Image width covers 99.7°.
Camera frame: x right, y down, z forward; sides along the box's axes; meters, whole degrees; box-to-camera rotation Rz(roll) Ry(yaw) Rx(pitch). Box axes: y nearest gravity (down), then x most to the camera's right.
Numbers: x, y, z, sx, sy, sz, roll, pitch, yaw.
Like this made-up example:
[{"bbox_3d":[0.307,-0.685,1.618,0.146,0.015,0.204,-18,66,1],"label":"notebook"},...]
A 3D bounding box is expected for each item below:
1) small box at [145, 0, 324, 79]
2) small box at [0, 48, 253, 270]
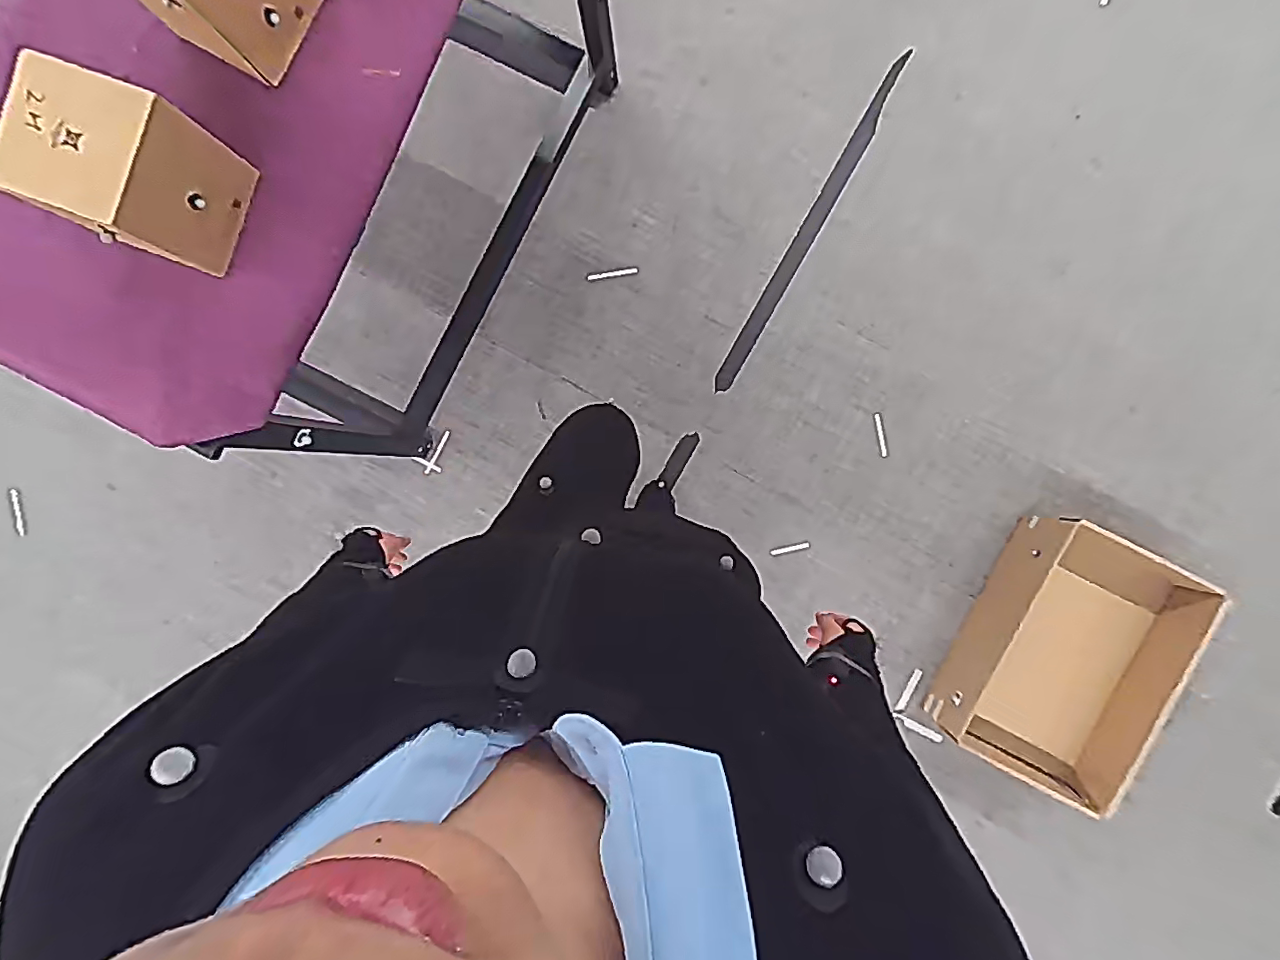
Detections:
[{"bbox_3d":[-0.569,-0.684,0.708,0.179,0.176,0.168,30,91,1],"label":"small box"},{"bbox_3d":[-0.664,-0.401,0.710,0.179,0.176,0.168,20,90,2],"label":"small box"}]
